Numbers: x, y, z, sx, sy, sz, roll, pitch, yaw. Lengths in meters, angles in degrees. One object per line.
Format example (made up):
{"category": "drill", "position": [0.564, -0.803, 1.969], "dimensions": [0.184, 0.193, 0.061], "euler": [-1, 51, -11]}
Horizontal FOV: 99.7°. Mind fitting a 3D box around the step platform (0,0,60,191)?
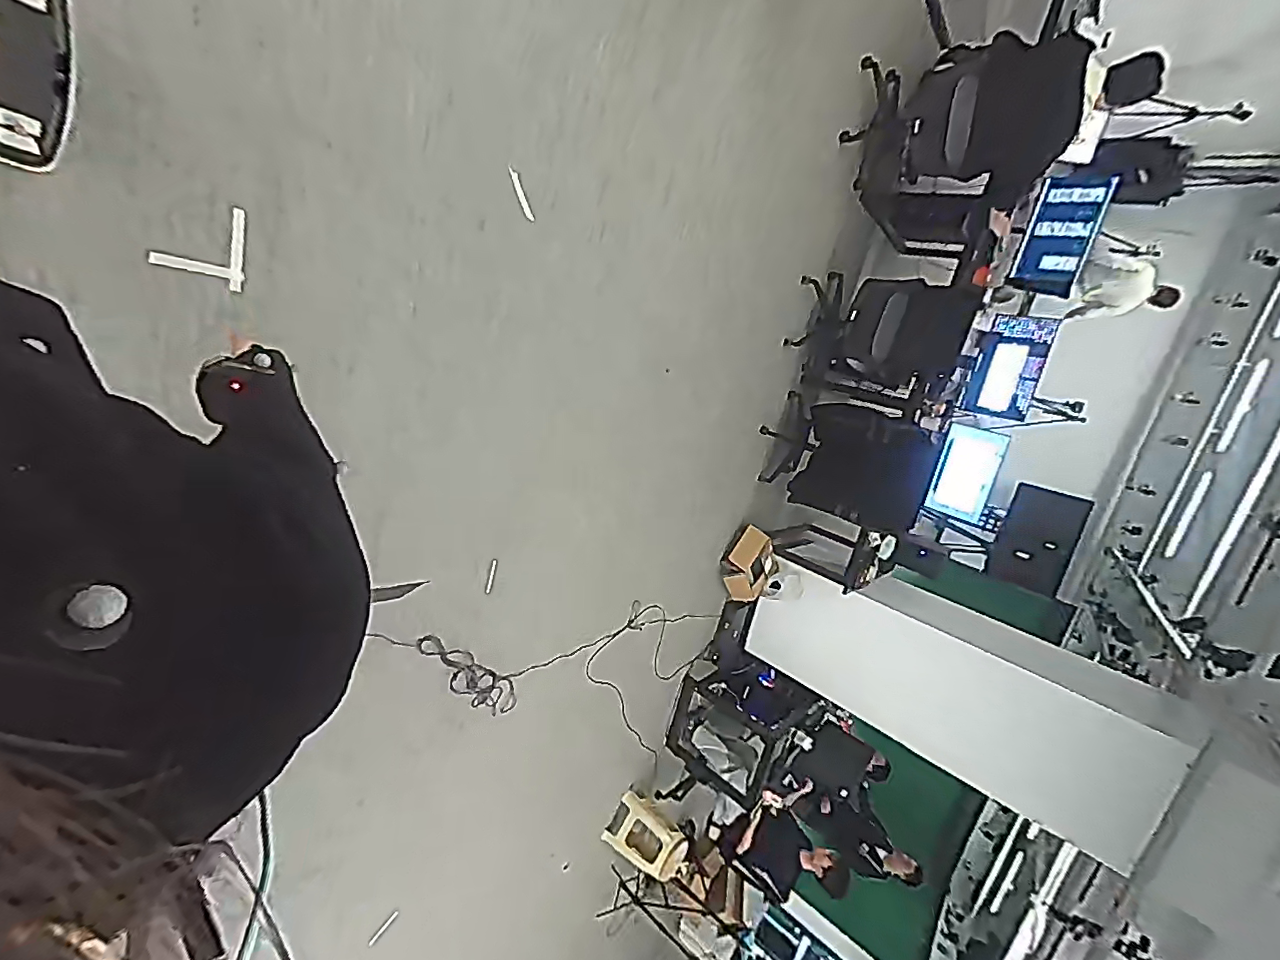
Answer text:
{"category": "step platform", "position": [-1.145, -0.624, 0.599], "dimensions": [0.684, 0.204, 0.286], "euler": [10, 101, -53]}
